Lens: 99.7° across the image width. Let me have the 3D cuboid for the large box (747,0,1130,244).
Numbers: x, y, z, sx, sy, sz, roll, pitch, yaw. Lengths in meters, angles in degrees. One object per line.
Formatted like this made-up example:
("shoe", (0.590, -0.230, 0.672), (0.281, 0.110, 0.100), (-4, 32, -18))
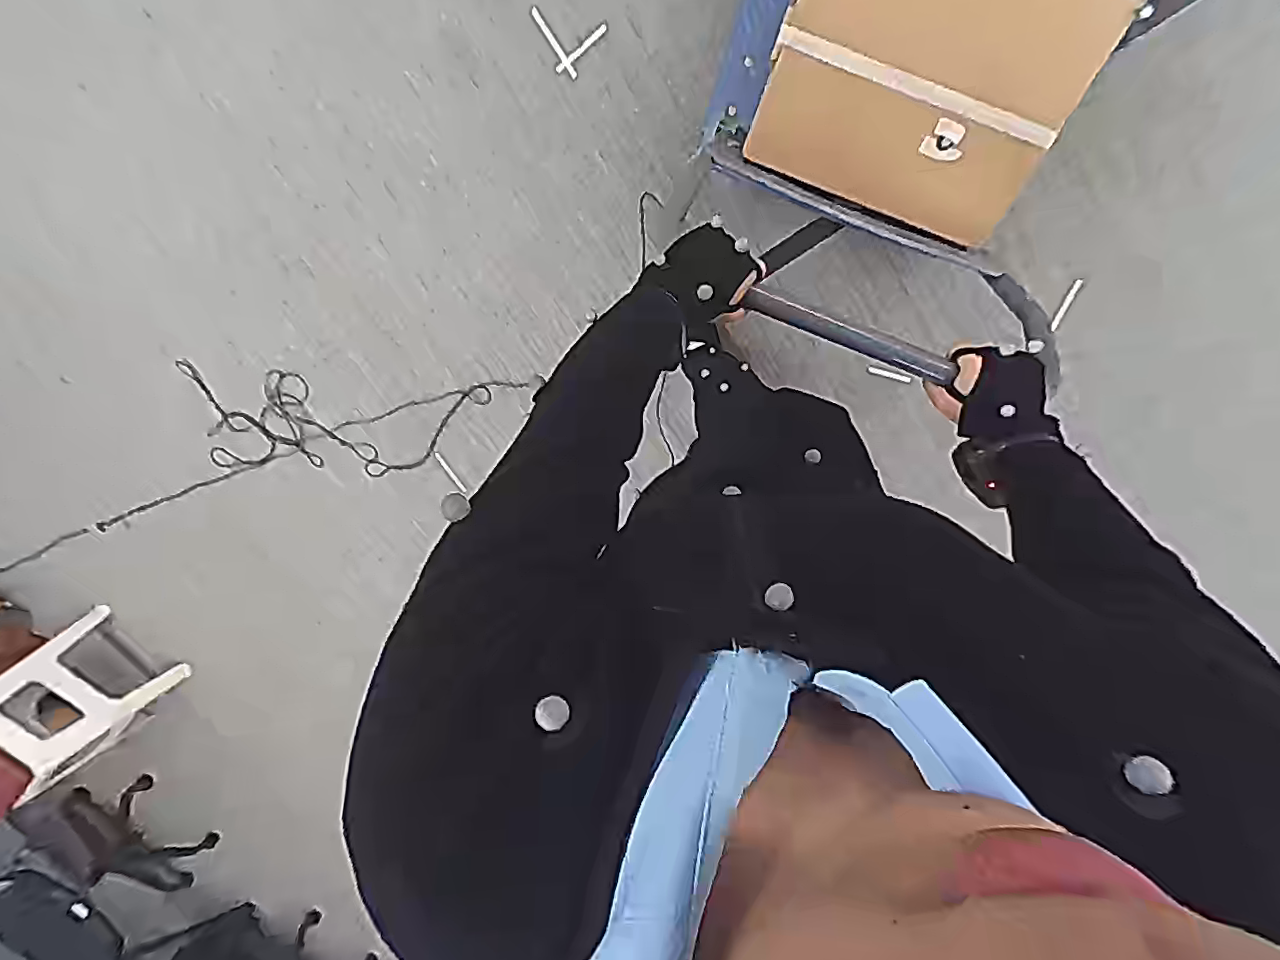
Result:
("large box", (0.420, -0.638, 0.889), (0.408, 0.320, 0.320), (20, 128, -1))
